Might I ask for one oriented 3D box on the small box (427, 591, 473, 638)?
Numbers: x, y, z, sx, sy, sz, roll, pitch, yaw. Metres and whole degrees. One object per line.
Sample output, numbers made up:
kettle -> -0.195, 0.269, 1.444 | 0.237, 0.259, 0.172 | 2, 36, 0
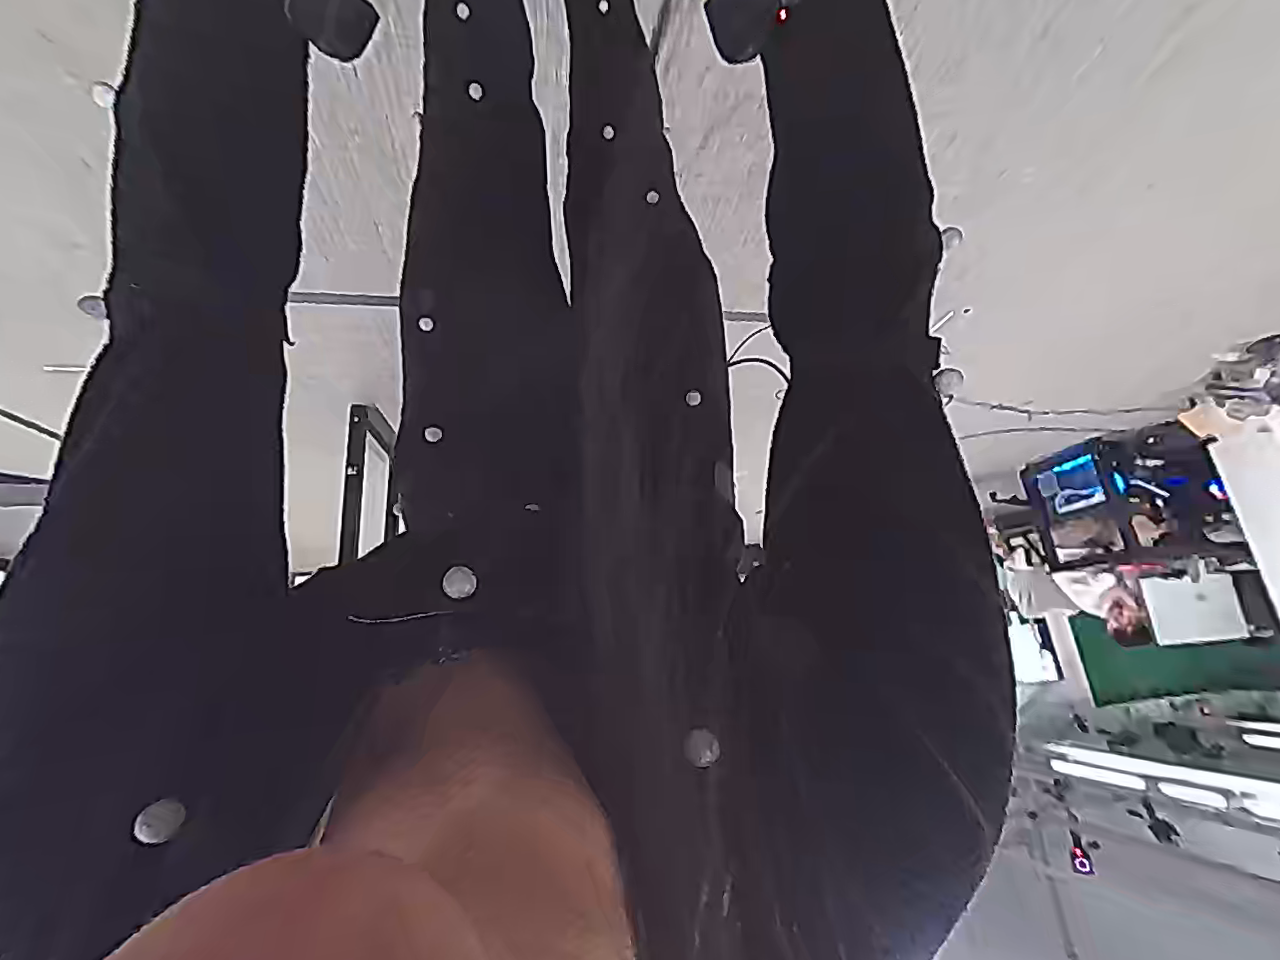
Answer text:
small box -> -0.759, 0.540, 2.168 | 0.168, 0.176, 0.179 | 0, 162, -16
